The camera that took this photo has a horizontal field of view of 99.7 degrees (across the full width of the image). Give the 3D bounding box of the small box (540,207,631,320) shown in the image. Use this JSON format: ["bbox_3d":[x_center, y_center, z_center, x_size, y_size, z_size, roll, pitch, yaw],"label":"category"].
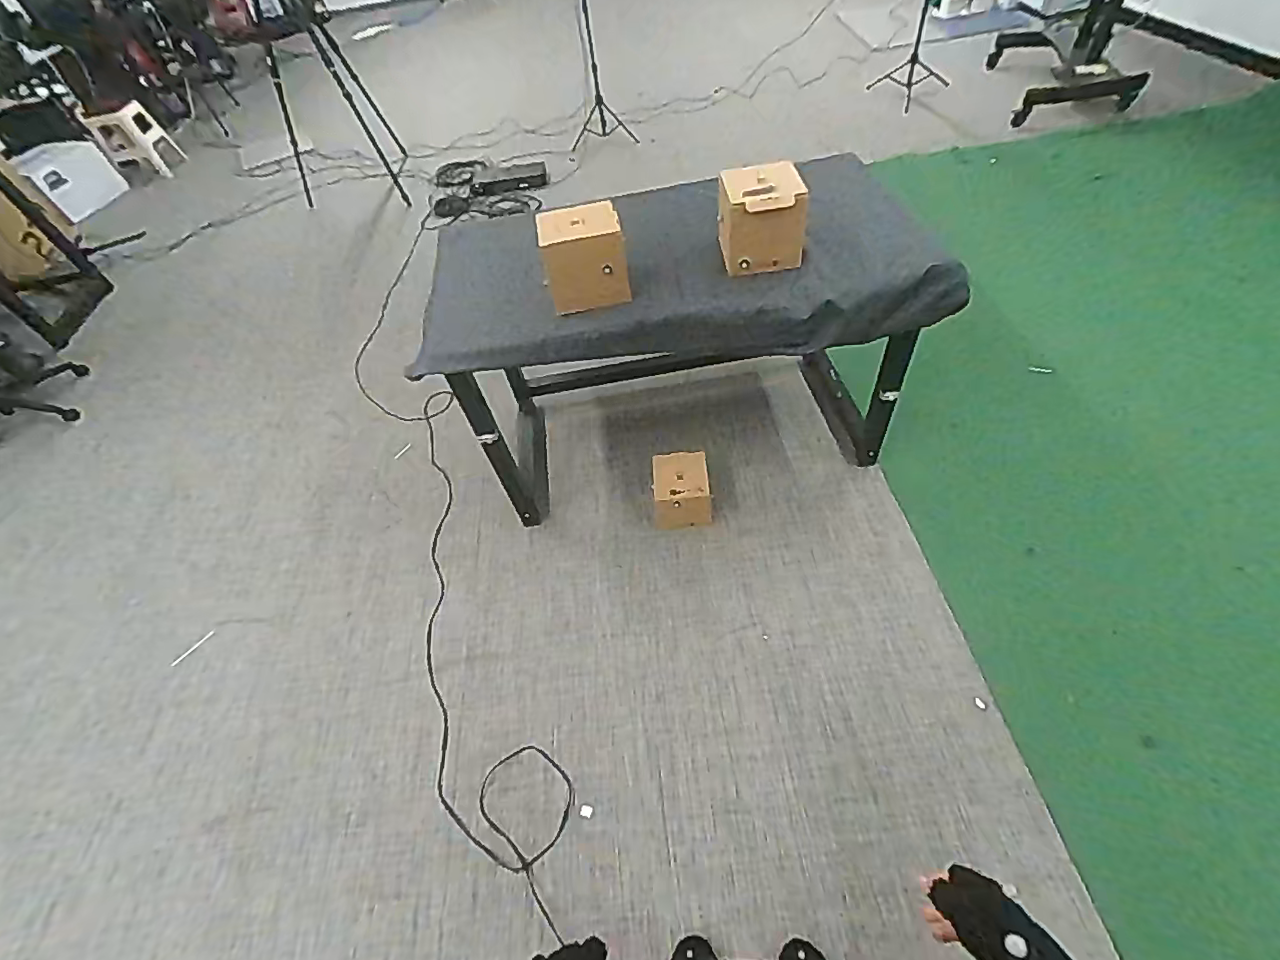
[{"bbox_3d":[-0.121,-0.493,1.238,0.179,0.176,0.168,-13,48,-1],"label":"small box"}]

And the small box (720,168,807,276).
[{"bbox_3d":[0.280,-0.588,1.250,0.168,0.176,0.179,-6,50,4],"label":"small box"}]
